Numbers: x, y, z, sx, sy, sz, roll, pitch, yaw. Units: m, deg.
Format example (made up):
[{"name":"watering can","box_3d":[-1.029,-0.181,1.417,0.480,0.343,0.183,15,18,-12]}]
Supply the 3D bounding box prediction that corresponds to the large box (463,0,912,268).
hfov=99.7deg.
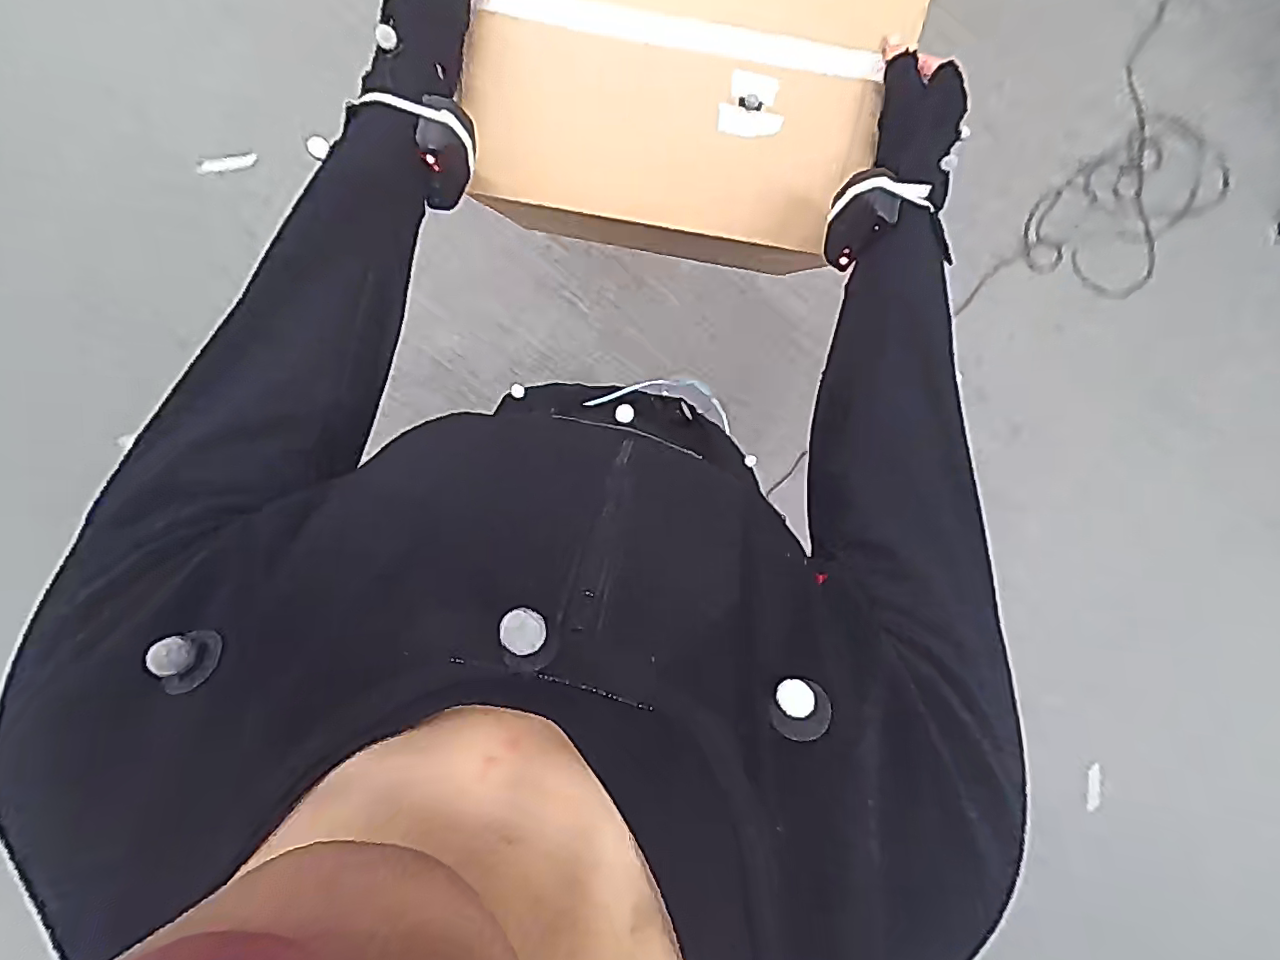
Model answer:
[{"name":"large box","box_3d":[0.038,-0.446,0.635,0.408,0.320,0.320,7,108,-2]}]
